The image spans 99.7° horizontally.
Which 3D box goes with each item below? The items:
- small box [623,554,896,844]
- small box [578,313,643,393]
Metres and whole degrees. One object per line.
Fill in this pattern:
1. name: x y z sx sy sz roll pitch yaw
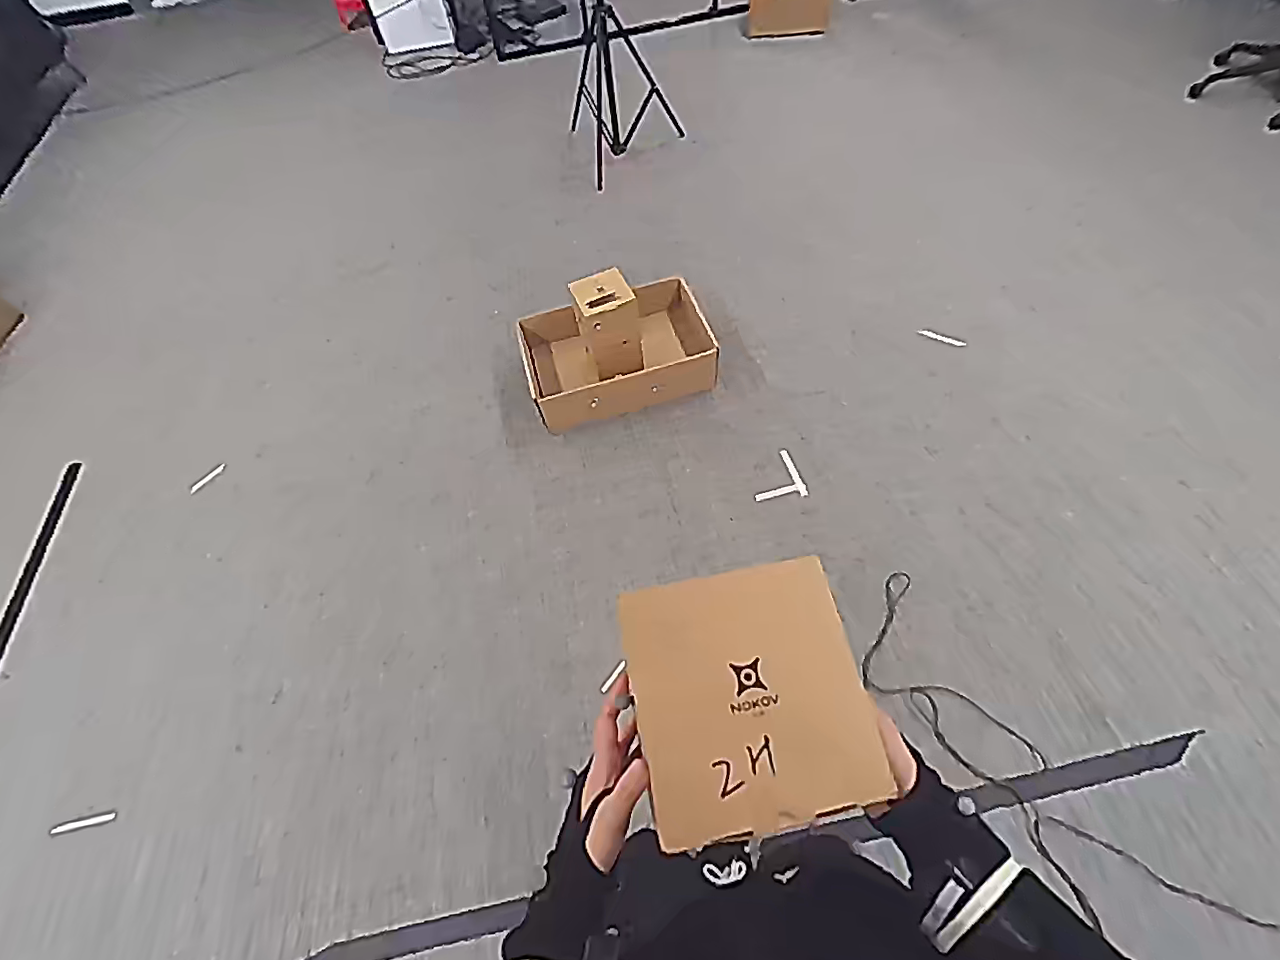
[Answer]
1. small box: 0.079 0.182 0.468 0.168 0.176 0.179 -10 67 -6
2. small box: -0.099 -0.432 1.848 0.168 0.176 0.179 -22 59 -7
